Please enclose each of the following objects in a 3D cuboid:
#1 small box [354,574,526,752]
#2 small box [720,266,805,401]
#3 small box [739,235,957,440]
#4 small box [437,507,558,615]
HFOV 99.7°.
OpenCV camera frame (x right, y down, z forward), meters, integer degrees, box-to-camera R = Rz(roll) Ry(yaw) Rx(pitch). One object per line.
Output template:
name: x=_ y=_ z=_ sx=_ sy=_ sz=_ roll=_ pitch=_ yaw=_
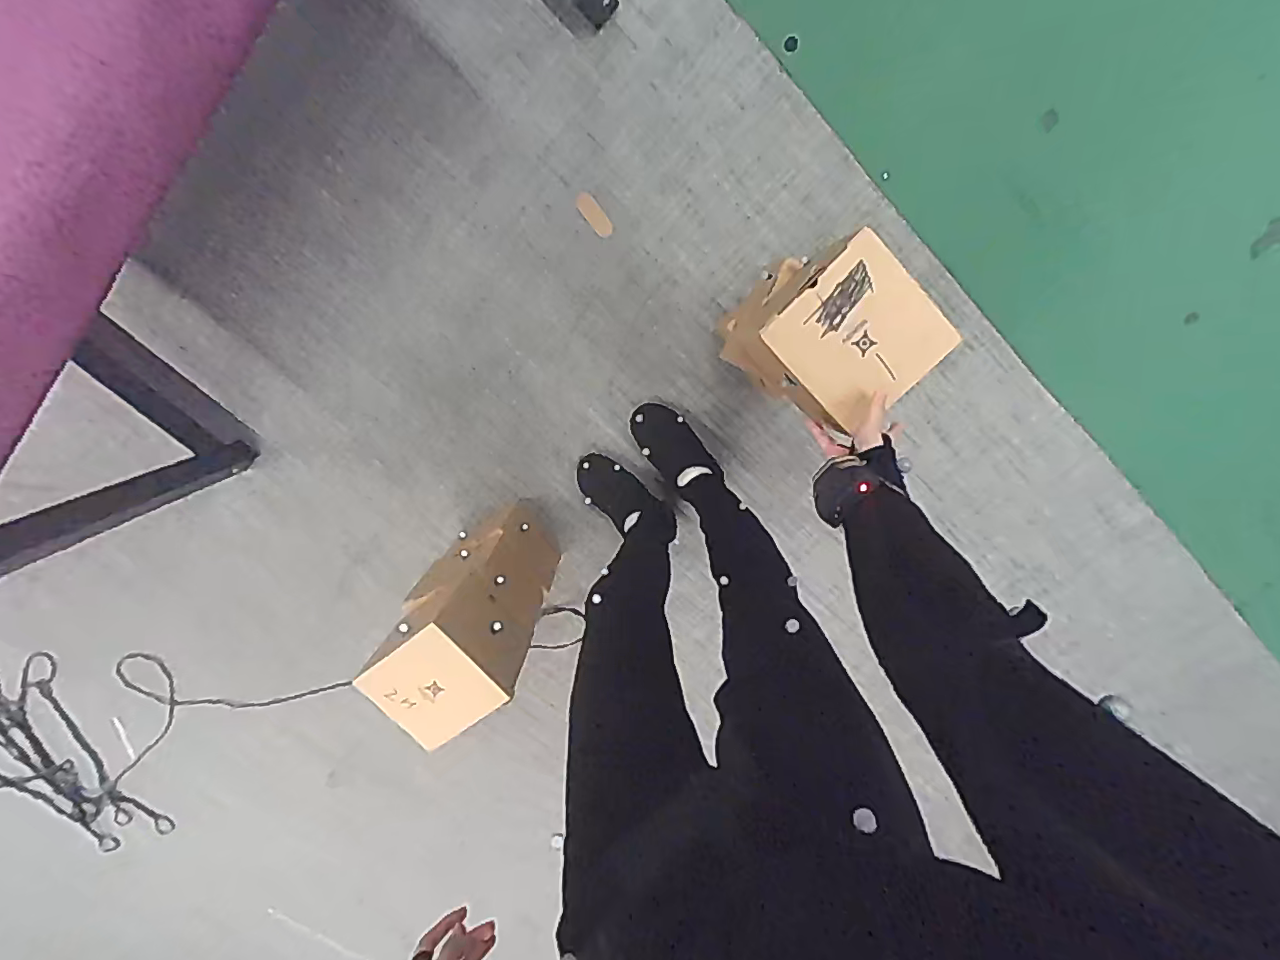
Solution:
small box: x=-0.303 y=0.283 z=0.869 sx=0.179 sy=0.176 sz=0.168 roll=-36 pitch=103 yaw=13
small box: x=0.263 y=-0.275 z=1.018 sx=0.179 sy=0.176 sz=0.168 roll=-35 pitch=104 yaw=12
small box: x=0.252 y=-0.180 z=0.702 sx=0.179 sy=0.176 sz=0.168 roll=43 pitch=102 yaw=-13
small box: x=-0.300 y=0.178 z=1.178 sx=0.168 sy=0.176 sz=0.179 roll=-29 pitch=106 yaw=10
